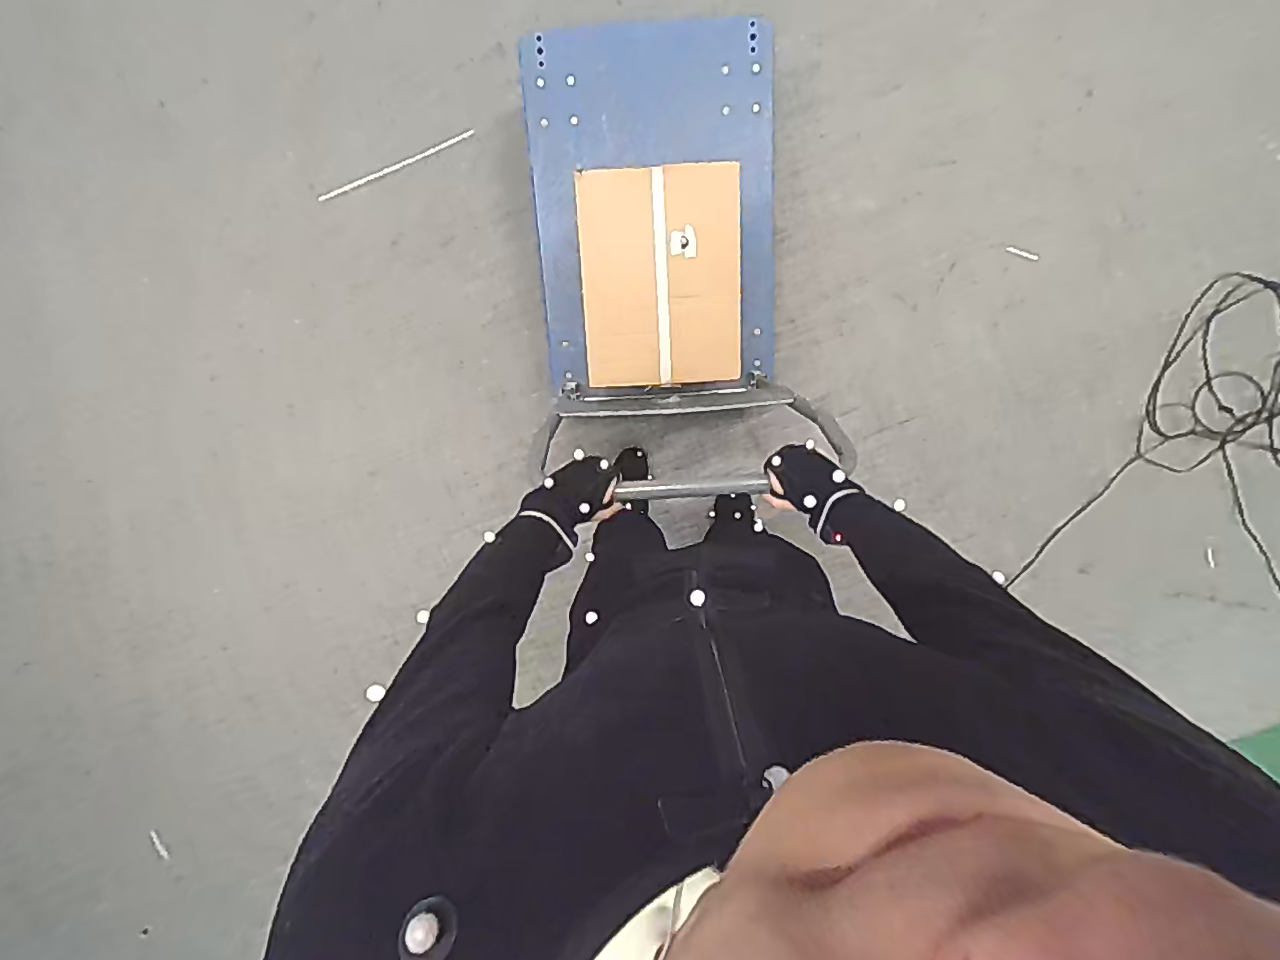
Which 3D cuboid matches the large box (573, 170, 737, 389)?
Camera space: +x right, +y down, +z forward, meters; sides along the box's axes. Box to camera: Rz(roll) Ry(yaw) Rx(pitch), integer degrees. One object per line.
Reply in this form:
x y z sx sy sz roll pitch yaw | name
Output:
0.038 -0.426 1.223 0.320 0.320 0.408 -3 104 0 | large box
